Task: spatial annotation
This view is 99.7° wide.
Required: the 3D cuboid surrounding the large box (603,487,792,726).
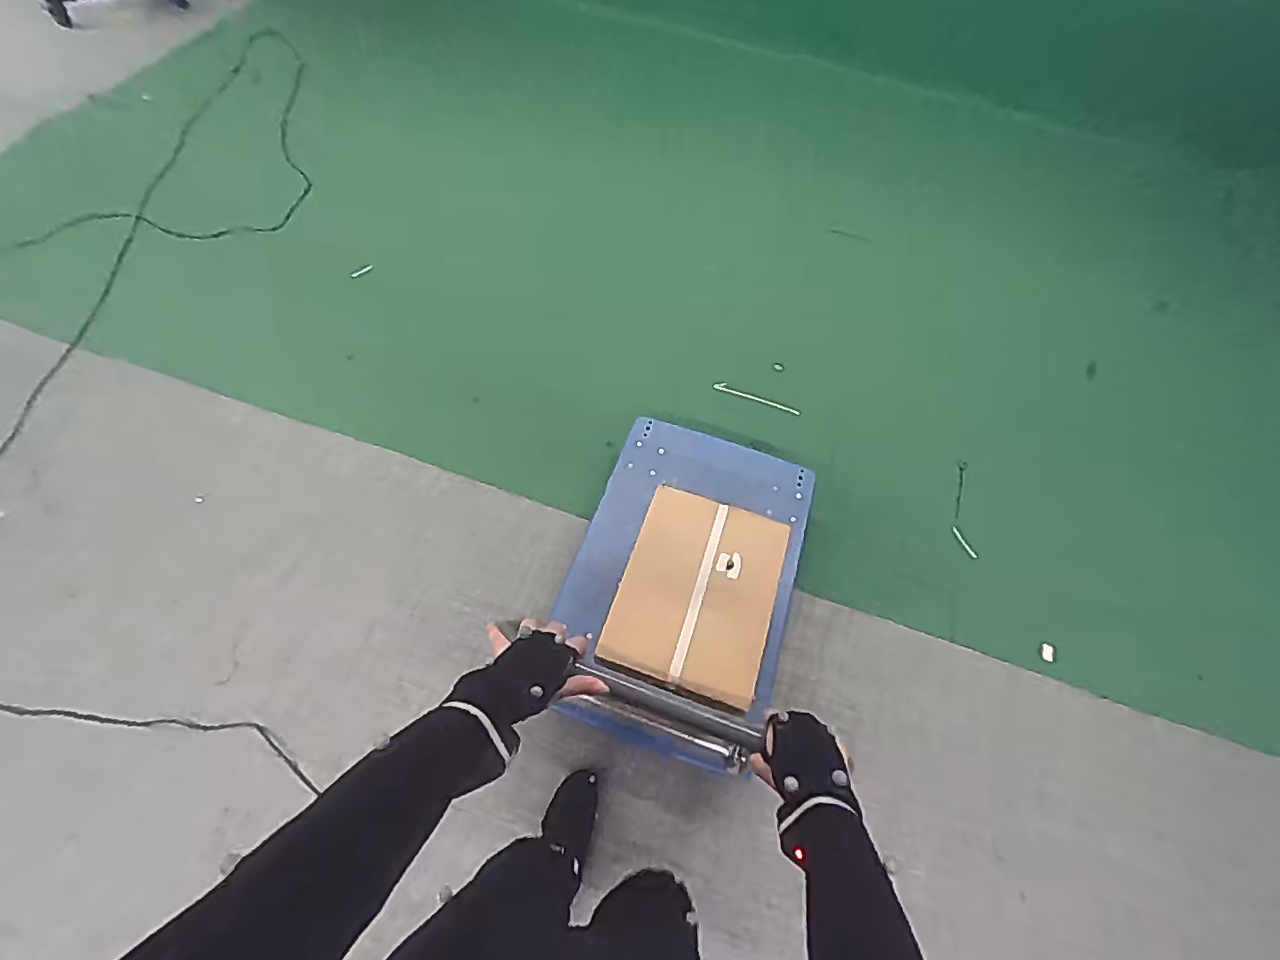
[{"bbox_3d":[0.124,0.296,1.238,0.320,0.320,0.408,19,61,6],"label":"large box"}]
